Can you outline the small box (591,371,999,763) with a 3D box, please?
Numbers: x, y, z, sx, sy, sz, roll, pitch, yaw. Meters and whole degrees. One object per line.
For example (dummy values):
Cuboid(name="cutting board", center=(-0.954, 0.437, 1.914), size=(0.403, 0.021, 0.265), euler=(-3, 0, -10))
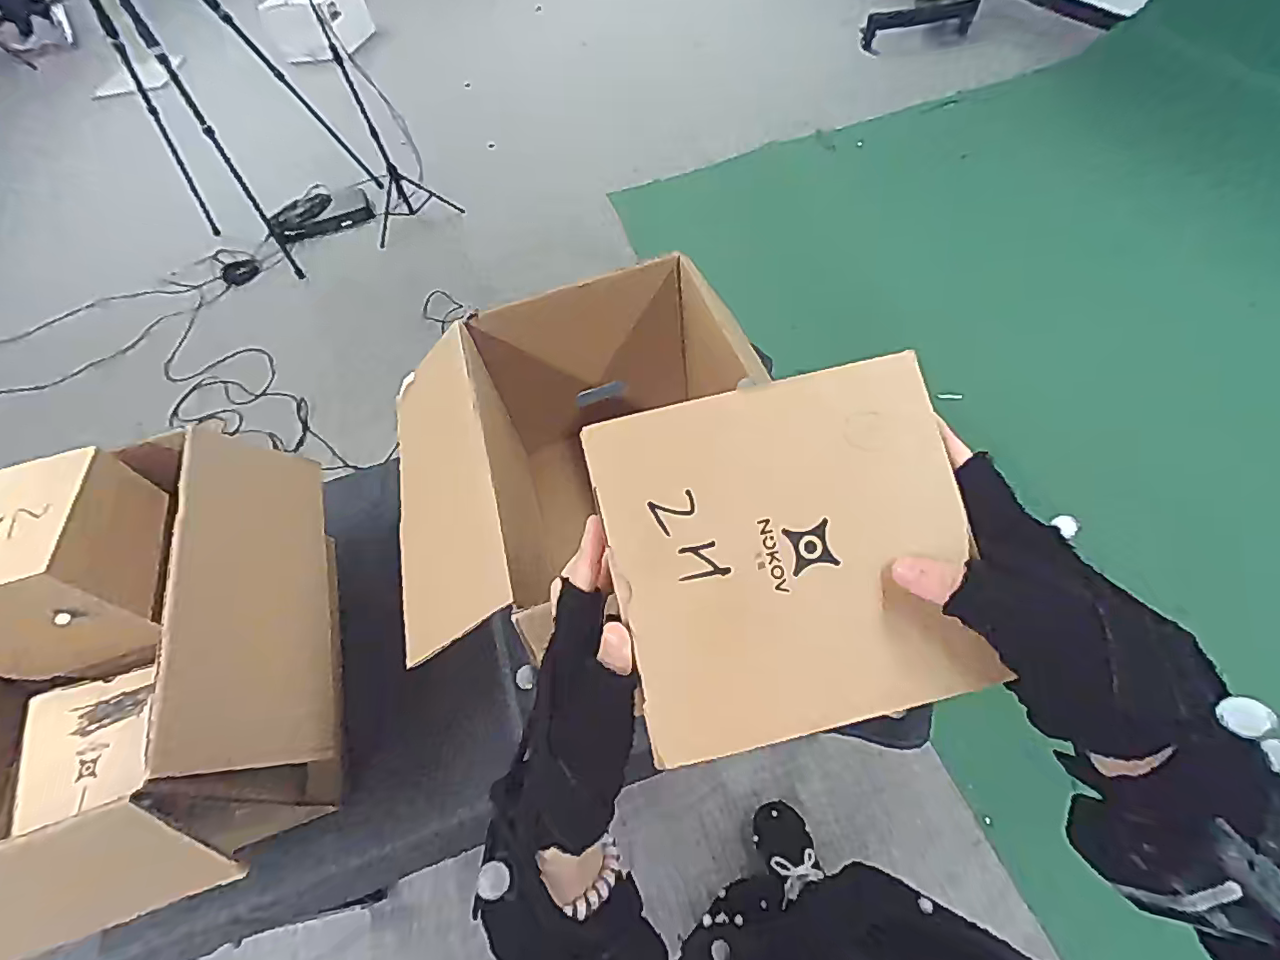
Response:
Cuboid(name="small box", center=(0.072, 0.049, 0.347), size=(0.179, 0.176, 0.168), euler=(-12, 81, -3))
